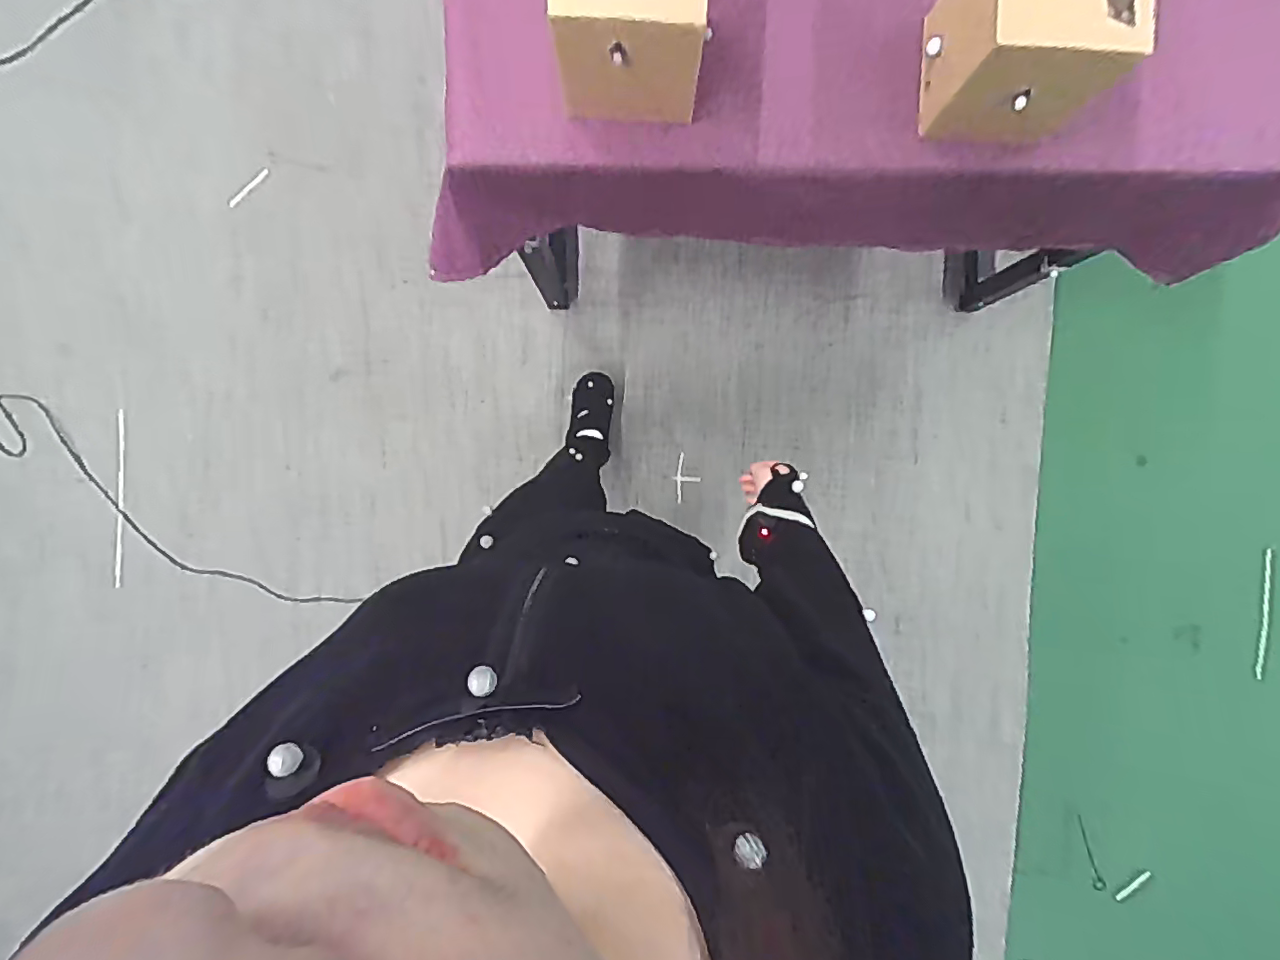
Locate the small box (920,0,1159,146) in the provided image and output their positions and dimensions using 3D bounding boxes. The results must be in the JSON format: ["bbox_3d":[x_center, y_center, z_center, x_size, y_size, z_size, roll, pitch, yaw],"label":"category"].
[{"bbox_3d":[0.479,-0.542,0.666,0.179,0.176,0.168,3,91,1],"label":"small box"}]

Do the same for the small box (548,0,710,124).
[{"bbox_3d":[-0.007,-0.572,0.662,0.179,0.176,0.168,4,91,-1],"label":"small box"}]
